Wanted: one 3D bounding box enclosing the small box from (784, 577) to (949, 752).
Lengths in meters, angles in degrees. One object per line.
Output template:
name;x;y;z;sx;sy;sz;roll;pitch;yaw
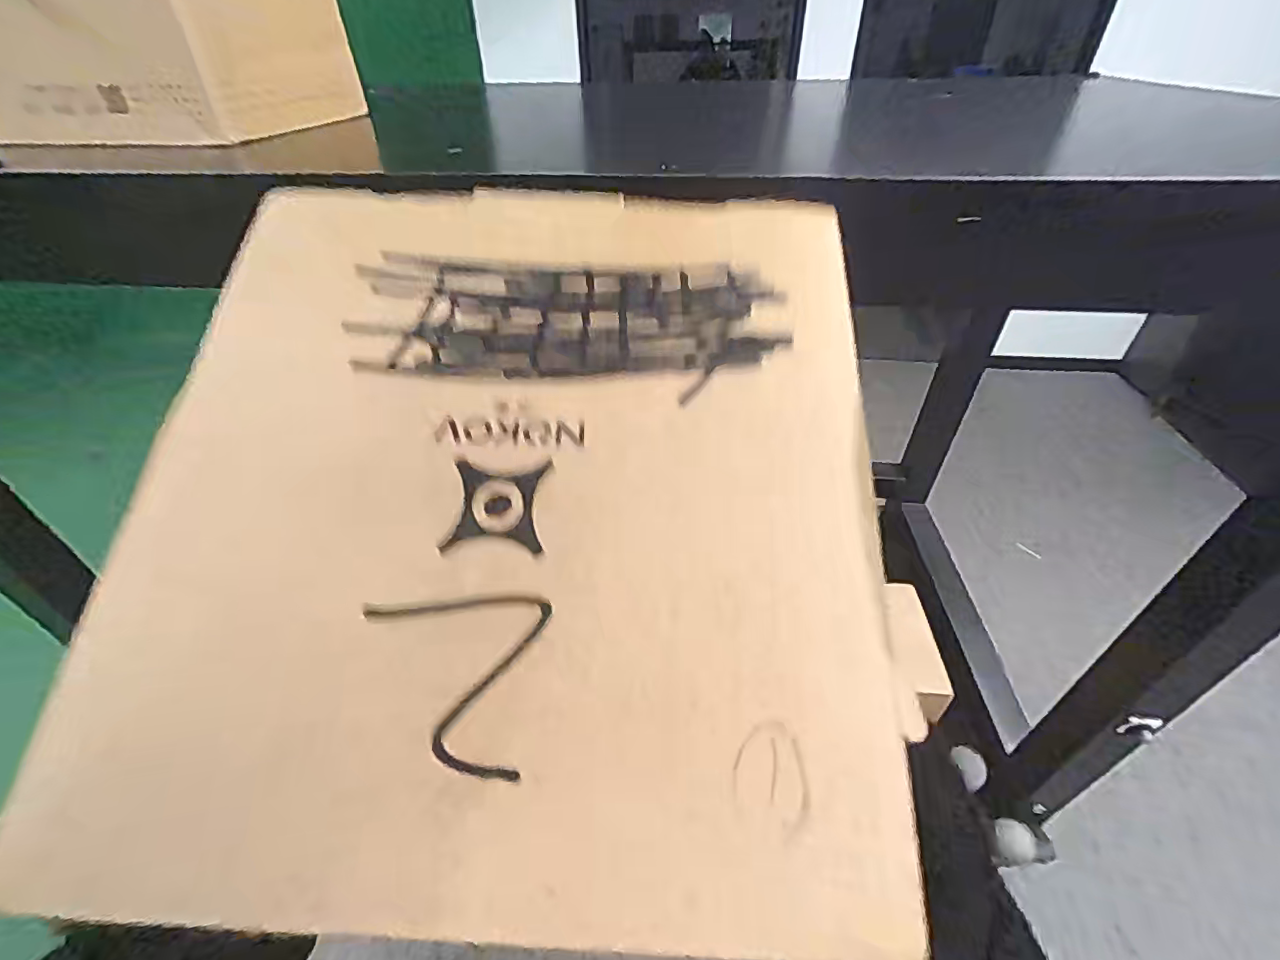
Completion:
small box;0.307;0.265;0.776;0.168;0.176;0.179;3;38;5

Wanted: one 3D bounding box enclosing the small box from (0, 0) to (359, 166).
small box;-0.321;-0.314;0.355;0.168;0.176;0.179;3;39;5
